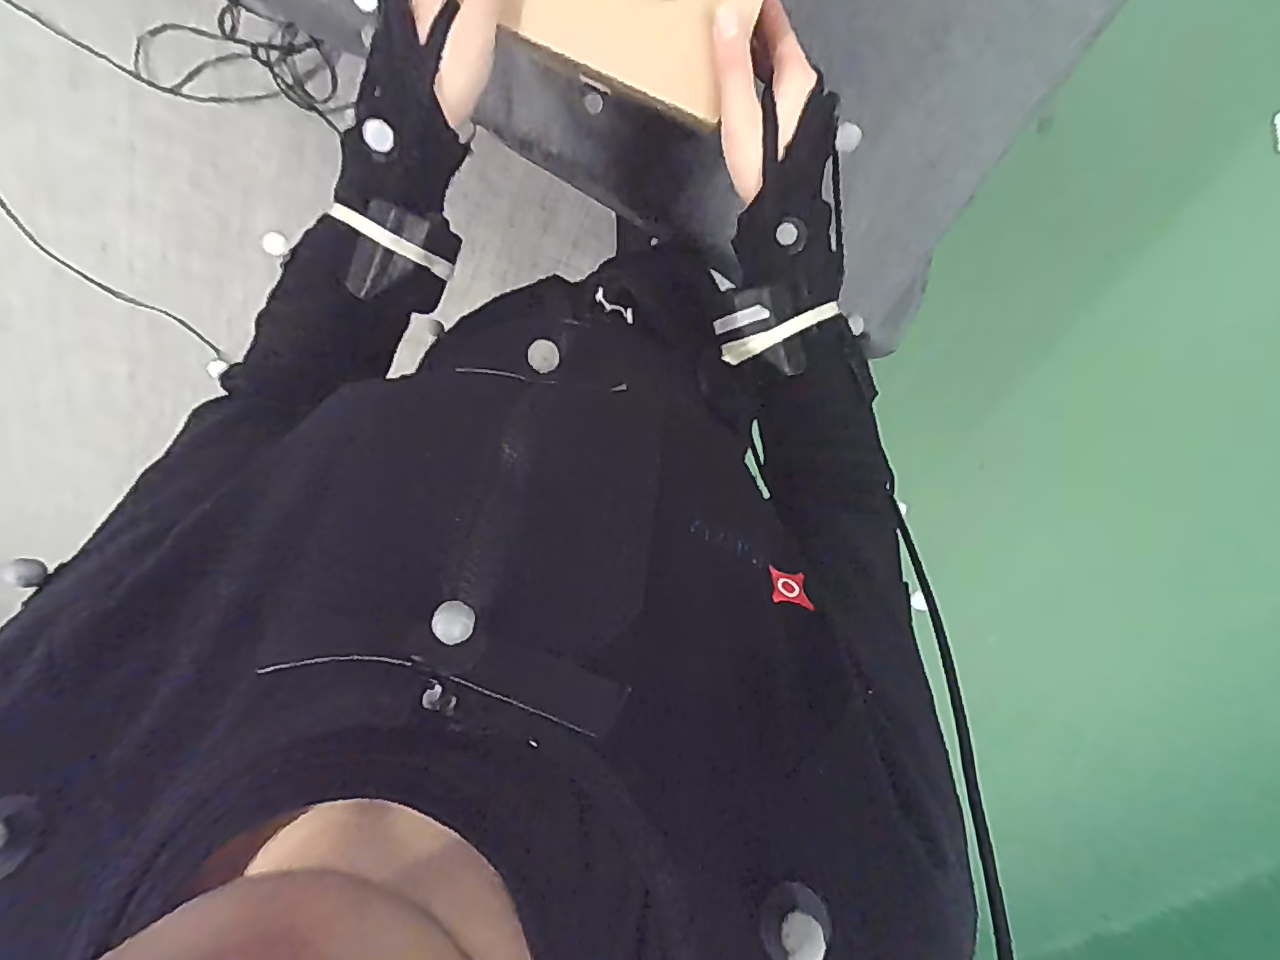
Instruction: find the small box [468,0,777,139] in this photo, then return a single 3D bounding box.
[{"bbox_3d":[0.010,-0.347,0.346,0.168,0.176,0.179,19,120,-7],"label":"small box"}]
